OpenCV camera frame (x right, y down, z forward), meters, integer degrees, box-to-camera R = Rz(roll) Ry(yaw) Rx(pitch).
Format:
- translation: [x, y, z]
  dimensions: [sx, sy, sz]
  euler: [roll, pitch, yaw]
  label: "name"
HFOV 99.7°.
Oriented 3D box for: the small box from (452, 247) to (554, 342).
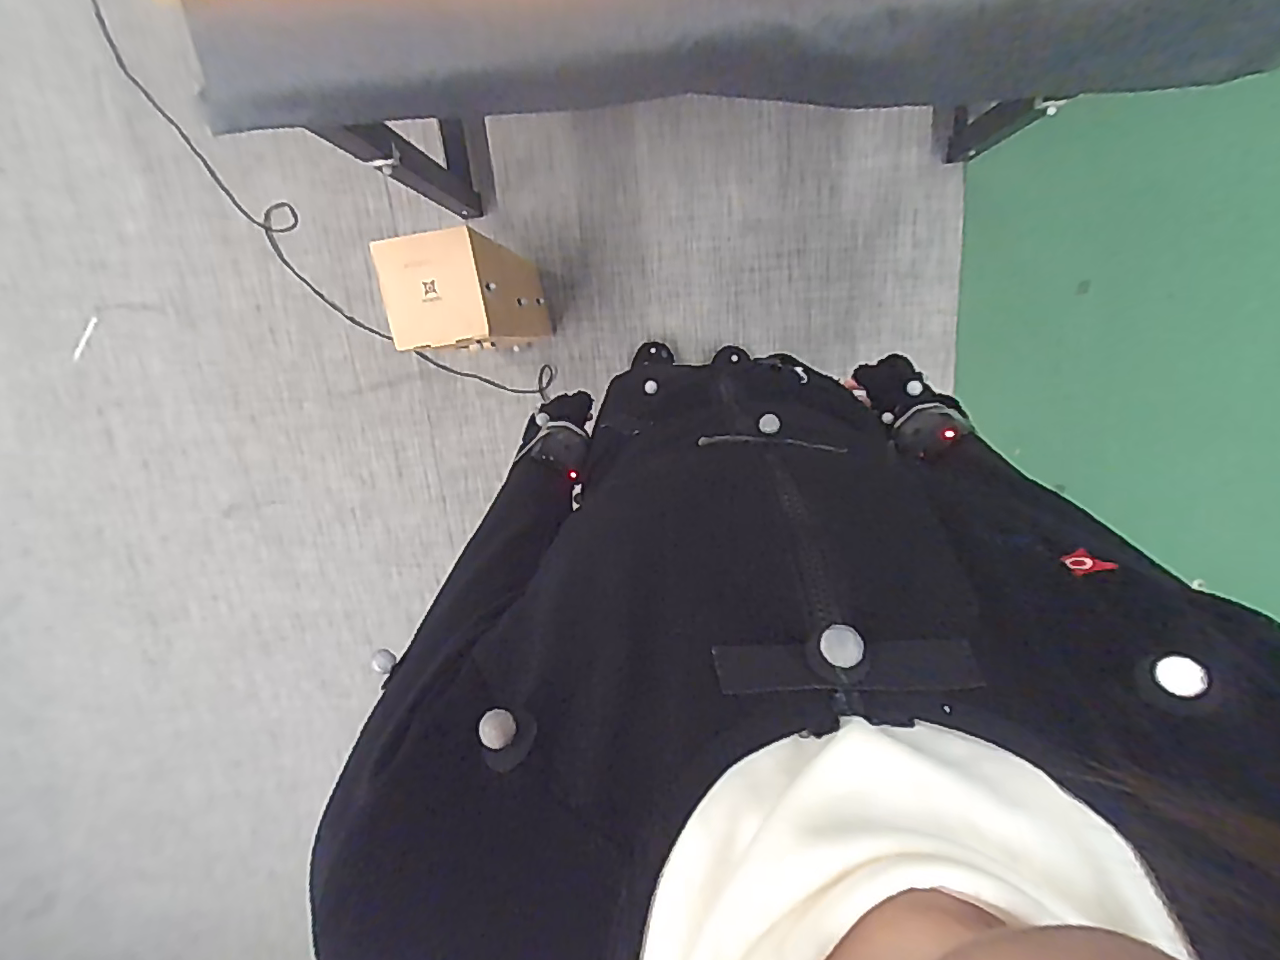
- translation: [-0.313, -0.428, 1.269]
  dimensions: [0.168, 0.176, 0.179]
  euler: [-11, 105, 6]
  label: "small box"
